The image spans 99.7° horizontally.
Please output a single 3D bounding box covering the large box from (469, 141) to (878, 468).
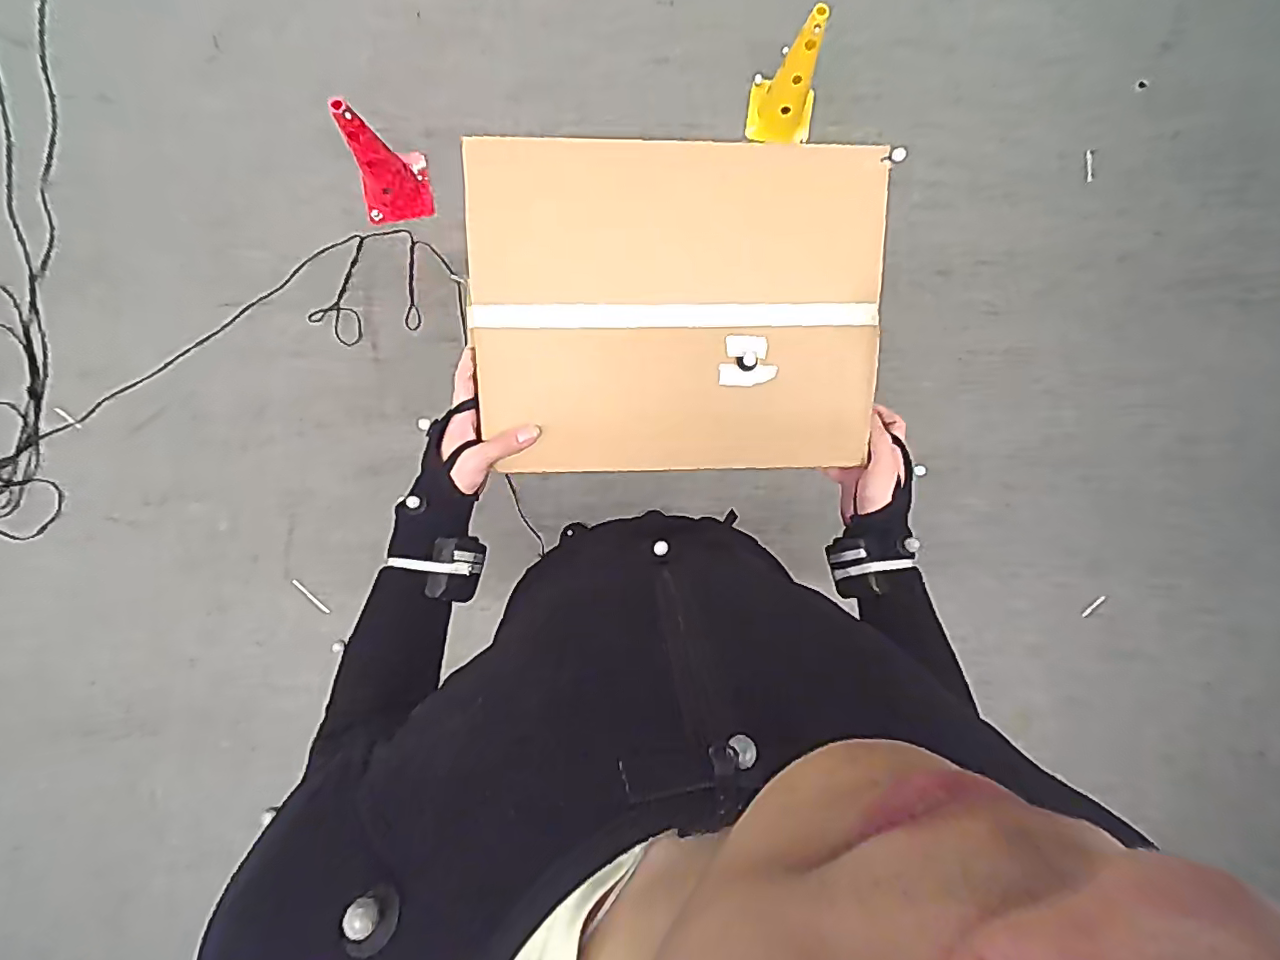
[{"bbox_3d":[0.028,-0.199,0.689,0.408,0.320,0.320,-2,102,-4],"label":"large box"}]
